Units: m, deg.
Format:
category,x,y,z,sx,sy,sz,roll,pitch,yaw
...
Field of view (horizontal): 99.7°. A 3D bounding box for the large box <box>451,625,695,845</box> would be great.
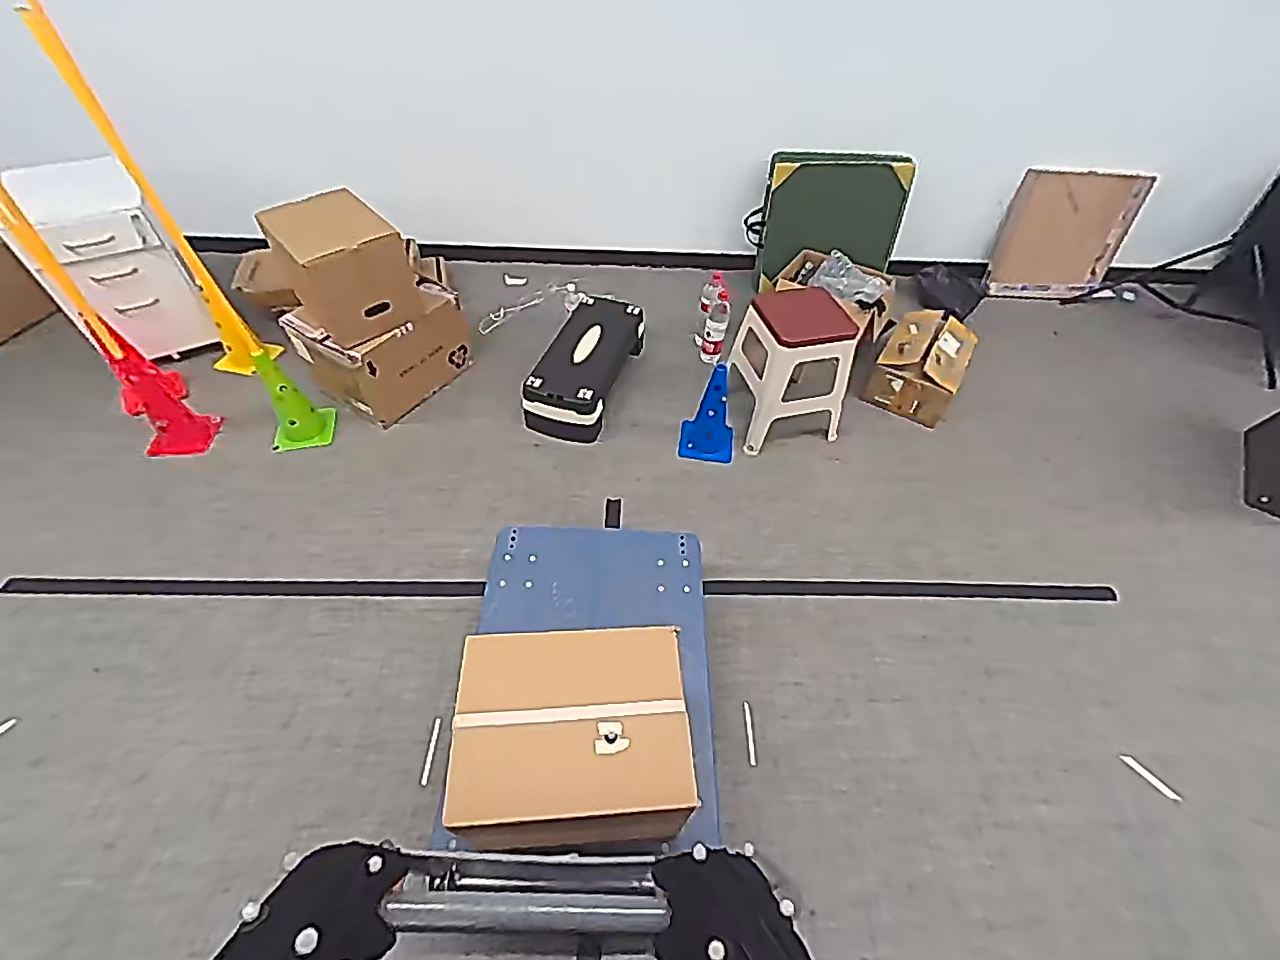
category,x,y,z,sx,sy,sz,roll,pitch,yaw
large box,-0.129,0.509,1.081,0.408,0.320,0.320,-1,50,-6
